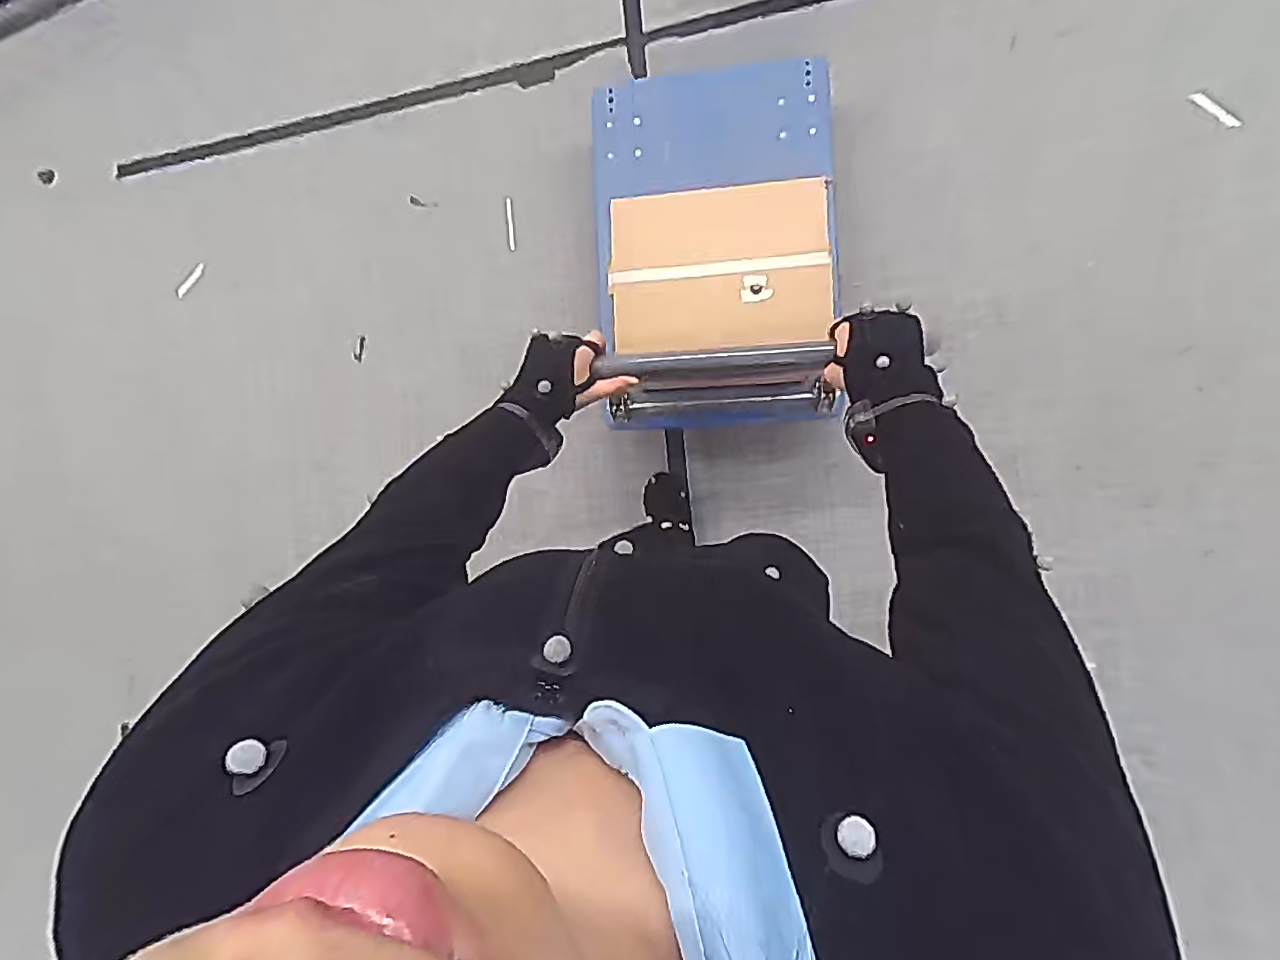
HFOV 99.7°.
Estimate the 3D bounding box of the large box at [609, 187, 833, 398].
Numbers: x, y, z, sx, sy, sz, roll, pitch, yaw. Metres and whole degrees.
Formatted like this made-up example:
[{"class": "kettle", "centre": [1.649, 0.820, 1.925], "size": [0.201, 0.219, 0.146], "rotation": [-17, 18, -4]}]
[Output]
[{"class": "large box", "centre": [0.160, -0.366, 1.149], "size": [0.408, 0.320, 0.320], "rotation": [-2, 88, 7]}]
